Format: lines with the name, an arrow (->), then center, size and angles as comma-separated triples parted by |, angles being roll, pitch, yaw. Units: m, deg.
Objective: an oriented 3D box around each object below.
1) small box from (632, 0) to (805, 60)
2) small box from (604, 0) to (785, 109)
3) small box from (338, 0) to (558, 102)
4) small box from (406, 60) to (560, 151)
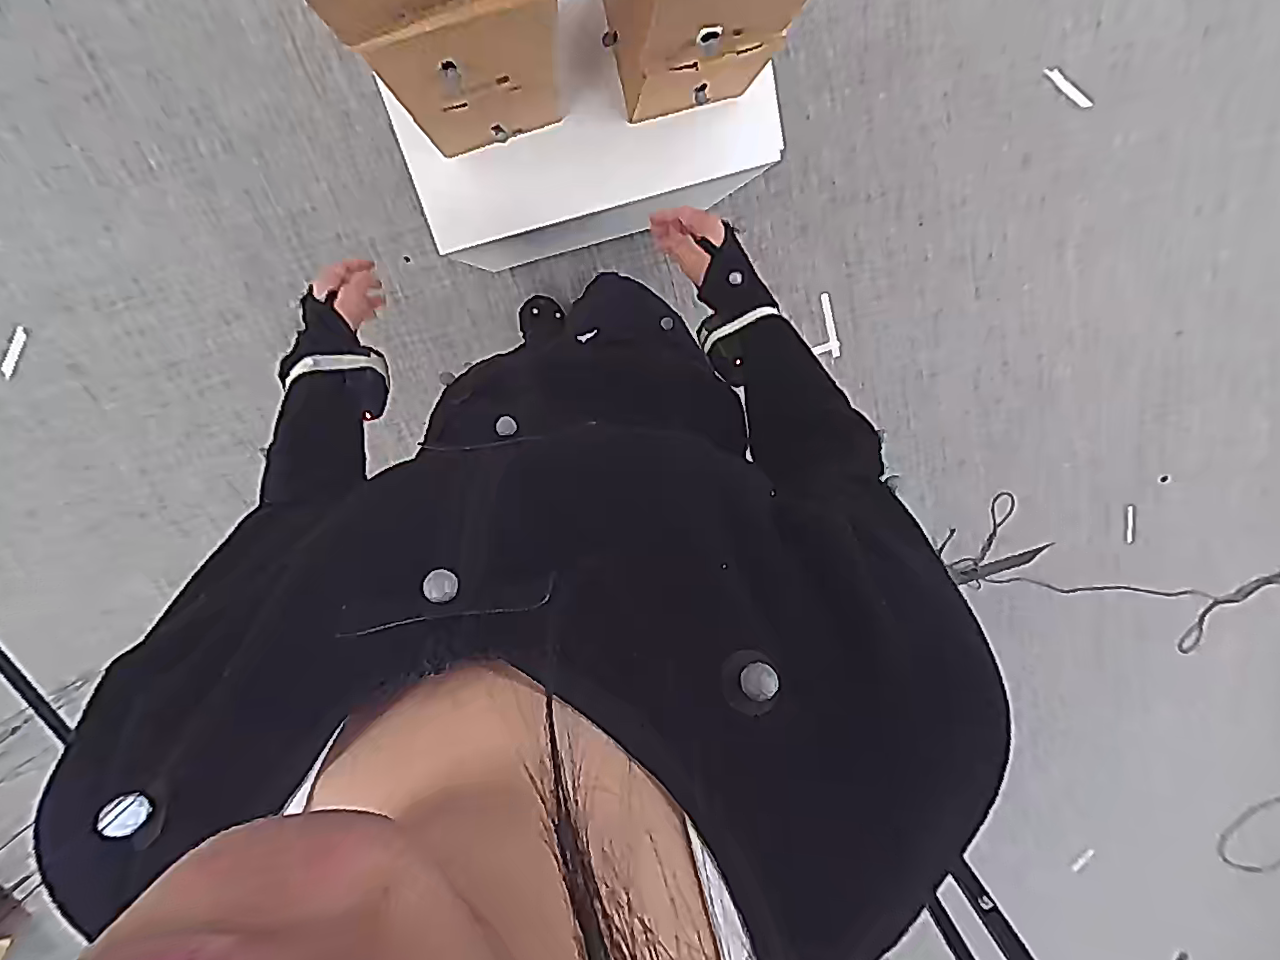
small box -> 0.069, -0.520, 0.476 | 0.168, 0.176, 0.179 | -15, 110, 0
small box -> 0.052, -0.563, 0.631 | 0.168, 0.176, 0.179 | -16, 111, -2
small box -> -0.174, -0.459, 0.465 | 0.168, 0.176, 0.179 | -18, 109, -1
small box -> -0.197, -0.512, 0.617 | 0.168, 0.176, 0.179 | -19, 110, -1
